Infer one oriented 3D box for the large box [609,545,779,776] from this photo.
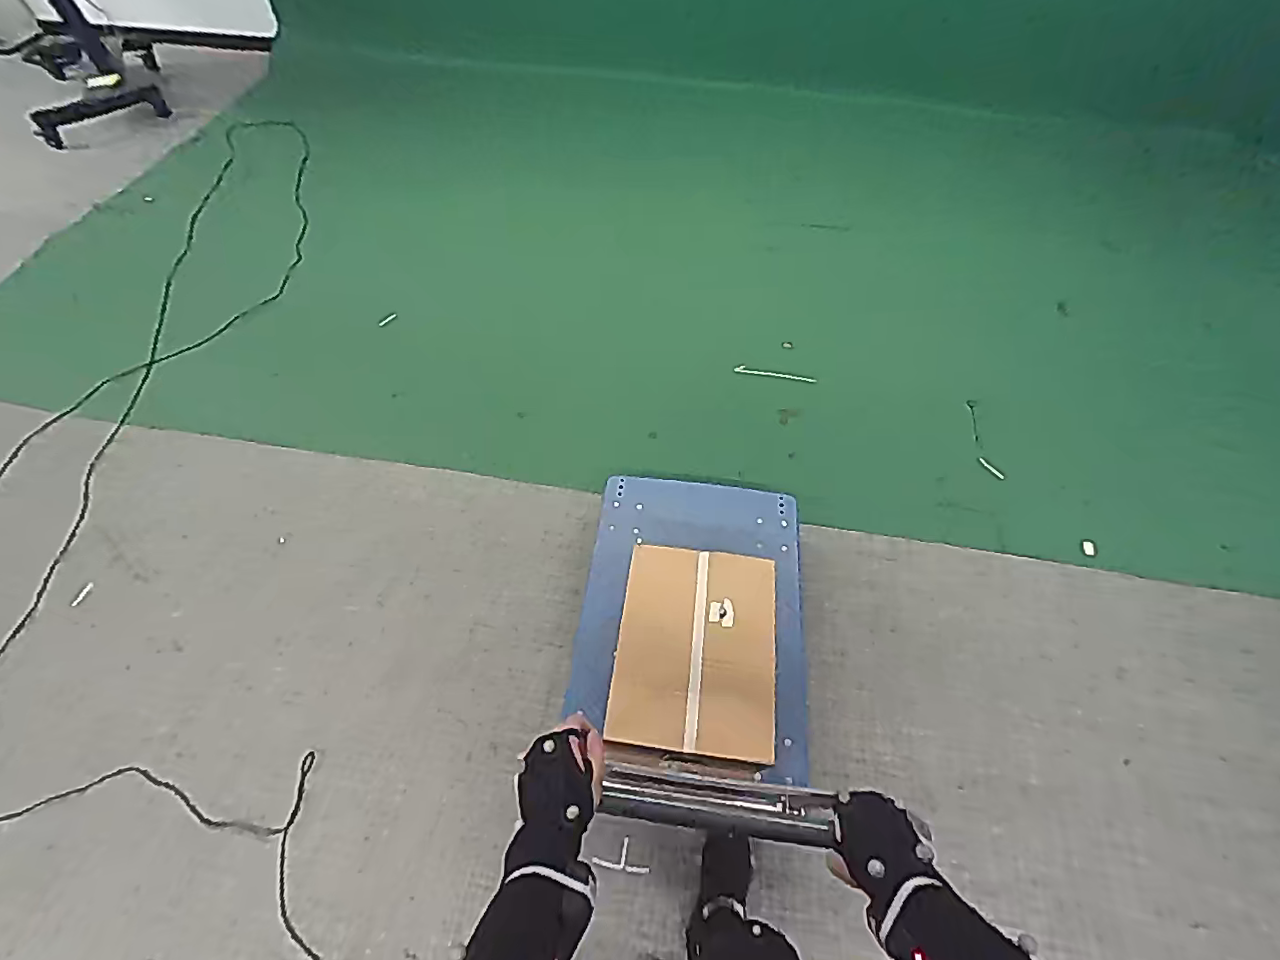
[{"bbox_3d":[0.119,0.405,1.203,0.320,0.320,0.408,6,56,4],"label":"large box"}]
